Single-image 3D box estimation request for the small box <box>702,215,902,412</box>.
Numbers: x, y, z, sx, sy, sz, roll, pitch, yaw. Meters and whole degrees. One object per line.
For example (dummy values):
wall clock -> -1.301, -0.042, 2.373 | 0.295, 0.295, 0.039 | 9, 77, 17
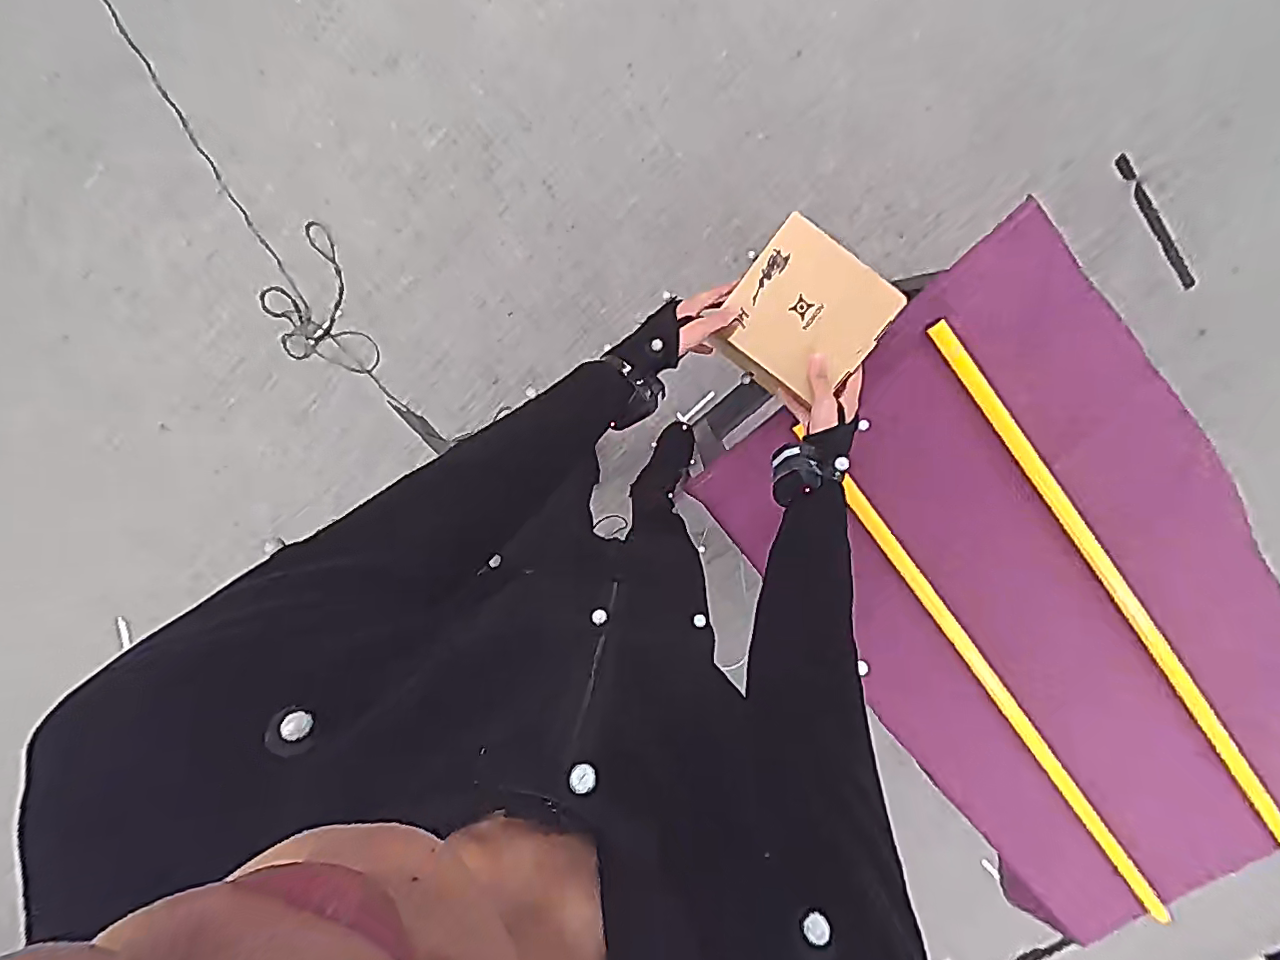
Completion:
small box -> 0.202, -0.212, 0.728 | 0.179, 0.176, 0.168 | 38, 99, -3
